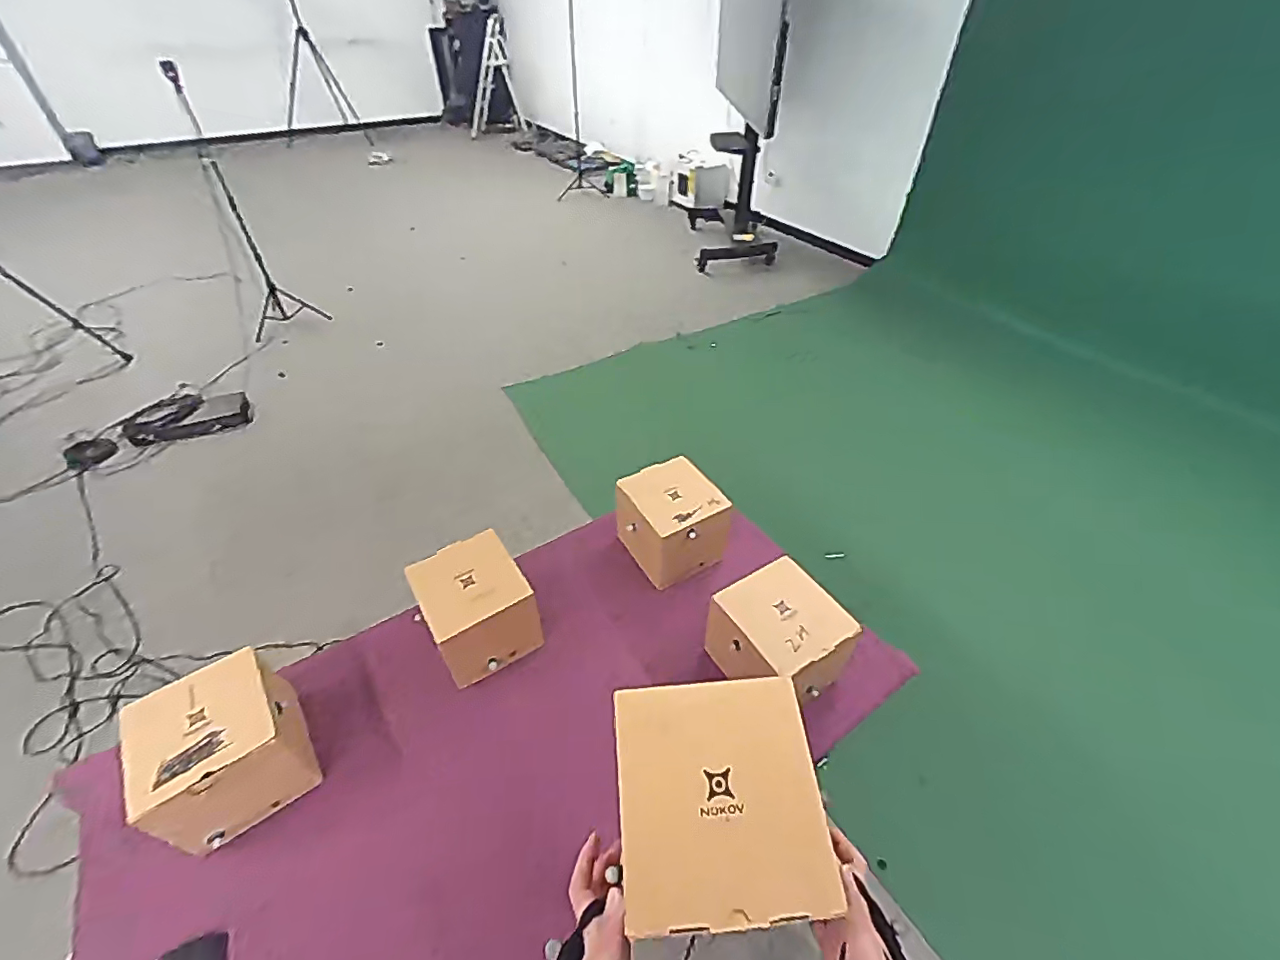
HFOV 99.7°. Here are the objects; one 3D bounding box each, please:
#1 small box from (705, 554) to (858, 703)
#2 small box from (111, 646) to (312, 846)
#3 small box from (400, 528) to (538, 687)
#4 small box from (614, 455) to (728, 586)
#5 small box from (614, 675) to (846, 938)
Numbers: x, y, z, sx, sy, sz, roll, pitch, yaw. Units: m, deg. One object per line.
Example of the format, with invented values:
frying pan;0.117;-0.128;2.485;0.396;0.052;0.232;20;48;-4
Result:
small box;0.223;0.264;0.907;0.168;0.176;0.179;-23;48;-22
small box;-0.603;0.384;0.775;0.168;0.176;0.179;-27;48;-27
small box;-0.297;0.224;0.954;0.168;0.176;0.179;-25;49;-24
small box;0.057;0.083;1.108;0.168;0.176;0.179;-22;47;-22
small box;0.060;0.296;0.496;0.168;0.176;0.179;-3;54;-3
